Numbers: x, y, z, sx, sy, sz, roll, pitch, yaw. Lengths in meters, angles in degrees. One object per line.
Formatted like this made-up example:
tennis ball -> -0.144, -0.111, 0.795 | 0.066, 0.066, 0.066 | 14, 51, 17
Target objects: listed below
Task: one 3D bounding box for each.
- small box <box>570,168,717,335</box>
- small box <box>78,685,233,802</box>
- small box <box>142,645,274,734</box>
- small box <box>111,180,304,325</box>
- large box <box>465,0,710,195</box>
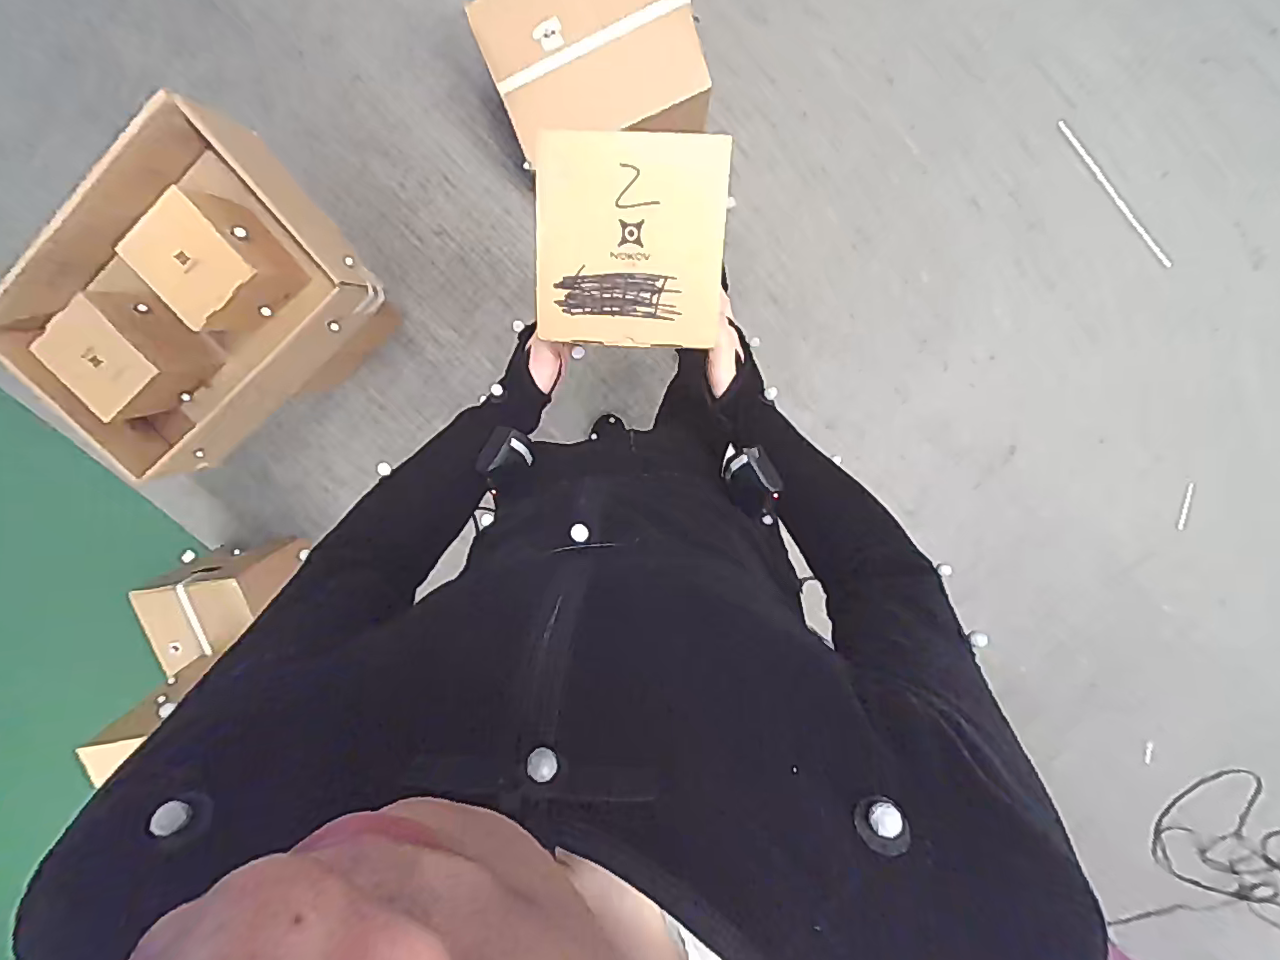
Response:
small box -> 0.004, -0.285, 0.704 | 0.168, 0.176, 0.179 | 3, 106, 1
small box -> -1.100, 0.599, 1.244 | 0.179, 0.176, 0.168 | -10, 106, 4
small box -> -1.108, 0.554, 1.401 | 0.179, 0.176, 0.168 | -10, 107, 3
small box -> -0.775, -0.403, 0.990 | 0.168, 0.176, 0.179 | -36, 104, 11
large box -> -0.095, -0.891, 1.190 | 0.408, 0.320, 0.320 | -21, 105, 8
